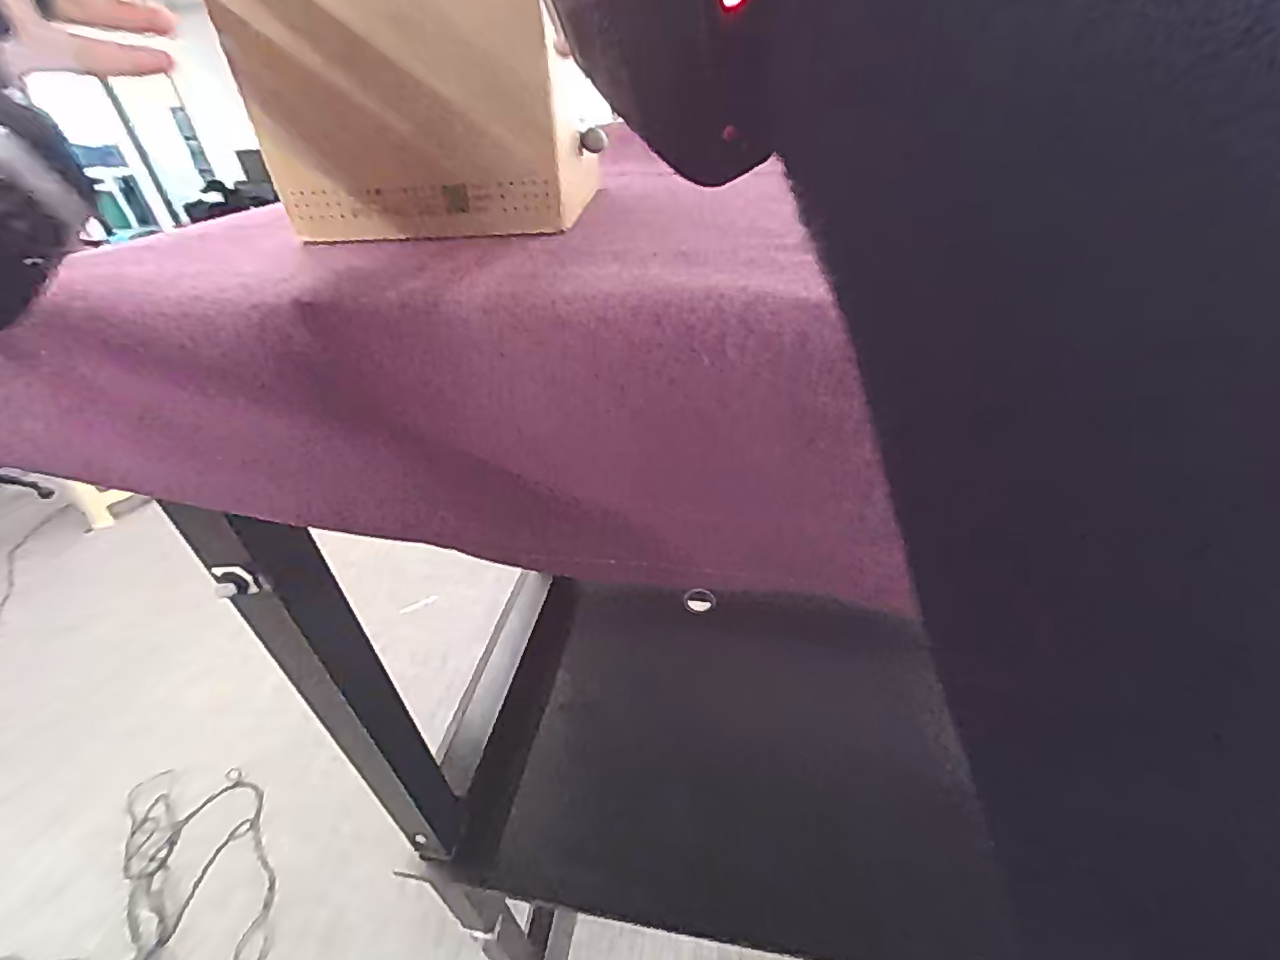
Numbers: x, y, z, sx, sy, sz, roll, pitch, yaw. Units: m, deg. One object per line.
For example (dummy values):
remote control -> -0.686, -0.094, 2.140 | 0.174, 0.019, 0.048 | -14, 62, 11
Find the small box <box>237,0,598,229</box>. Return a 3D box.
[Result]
small box -> -0.120, -0.264, 0.338 | 0.168, 0.176, 0.179 | -1, 35, 4
